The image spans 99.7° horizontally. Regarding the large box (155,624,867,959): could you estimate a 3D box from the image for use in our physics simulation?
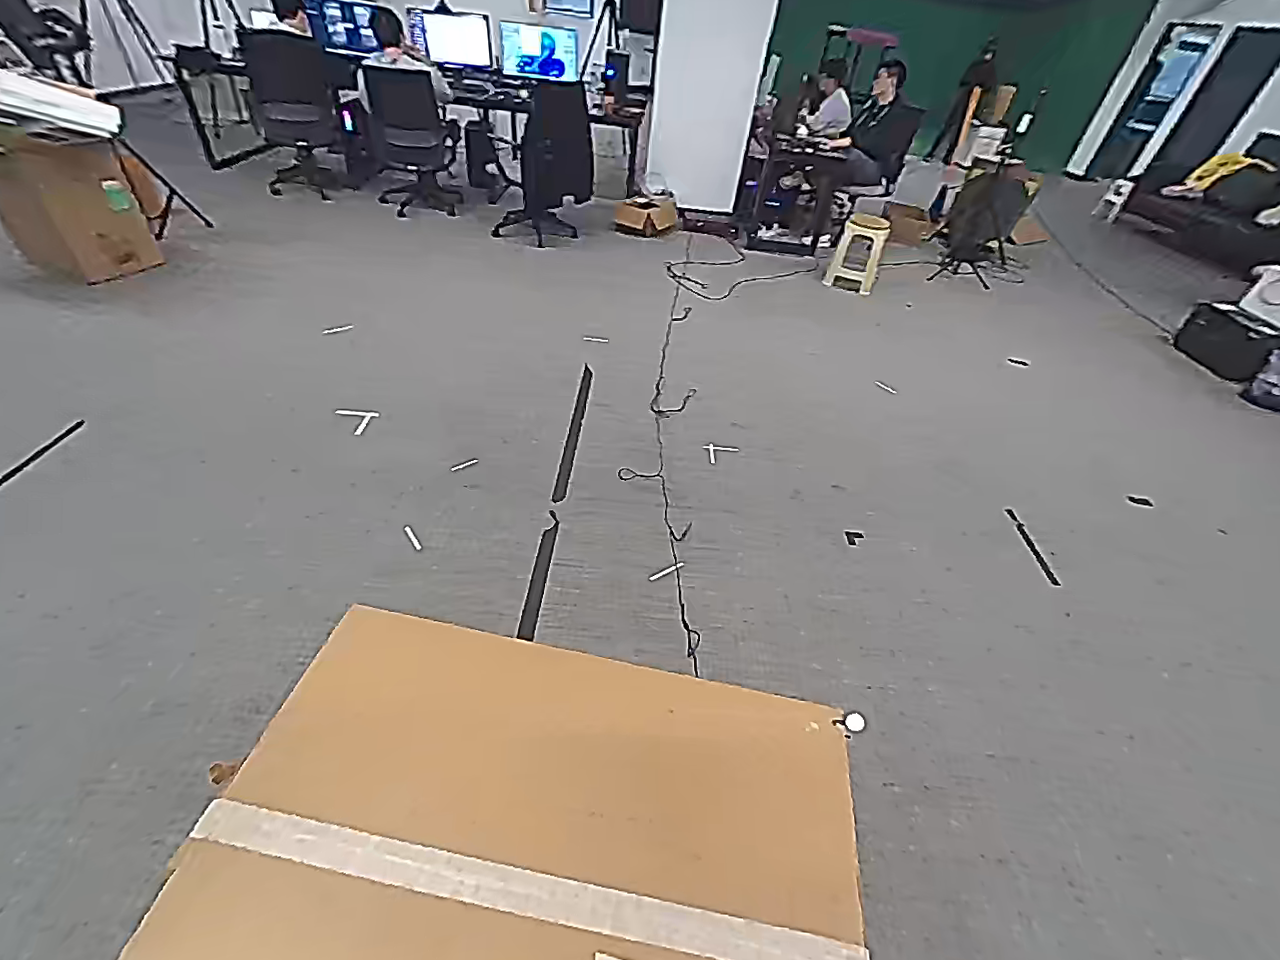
[{"bbox_3d":[-0.077,0.363,0.431,0.408,0.320,0.320,12,45,2],"label":"large box"}]
